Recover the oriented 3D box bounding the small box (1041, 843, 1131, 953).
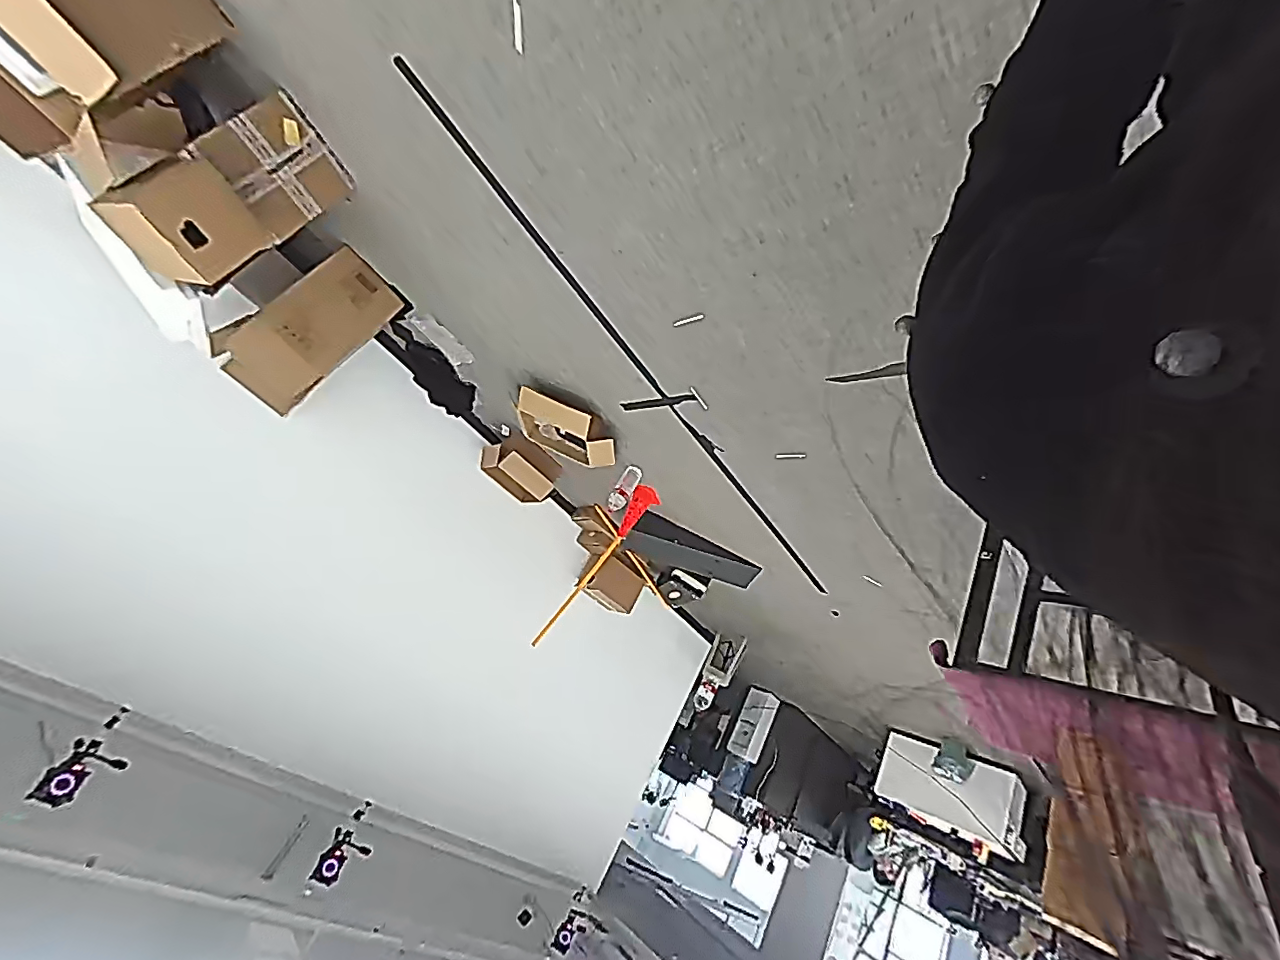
[{"bbox_3d":[1.171,1.093,1.422,0.168,0.176,0.179,8,148,44],"label":"small box"}]

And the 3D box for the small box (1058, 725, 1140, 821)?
[{"bbox_3d":[1.326,0.841,1.561,0.168,0.176,0.179,5,145,44],"label":"small box"}]
